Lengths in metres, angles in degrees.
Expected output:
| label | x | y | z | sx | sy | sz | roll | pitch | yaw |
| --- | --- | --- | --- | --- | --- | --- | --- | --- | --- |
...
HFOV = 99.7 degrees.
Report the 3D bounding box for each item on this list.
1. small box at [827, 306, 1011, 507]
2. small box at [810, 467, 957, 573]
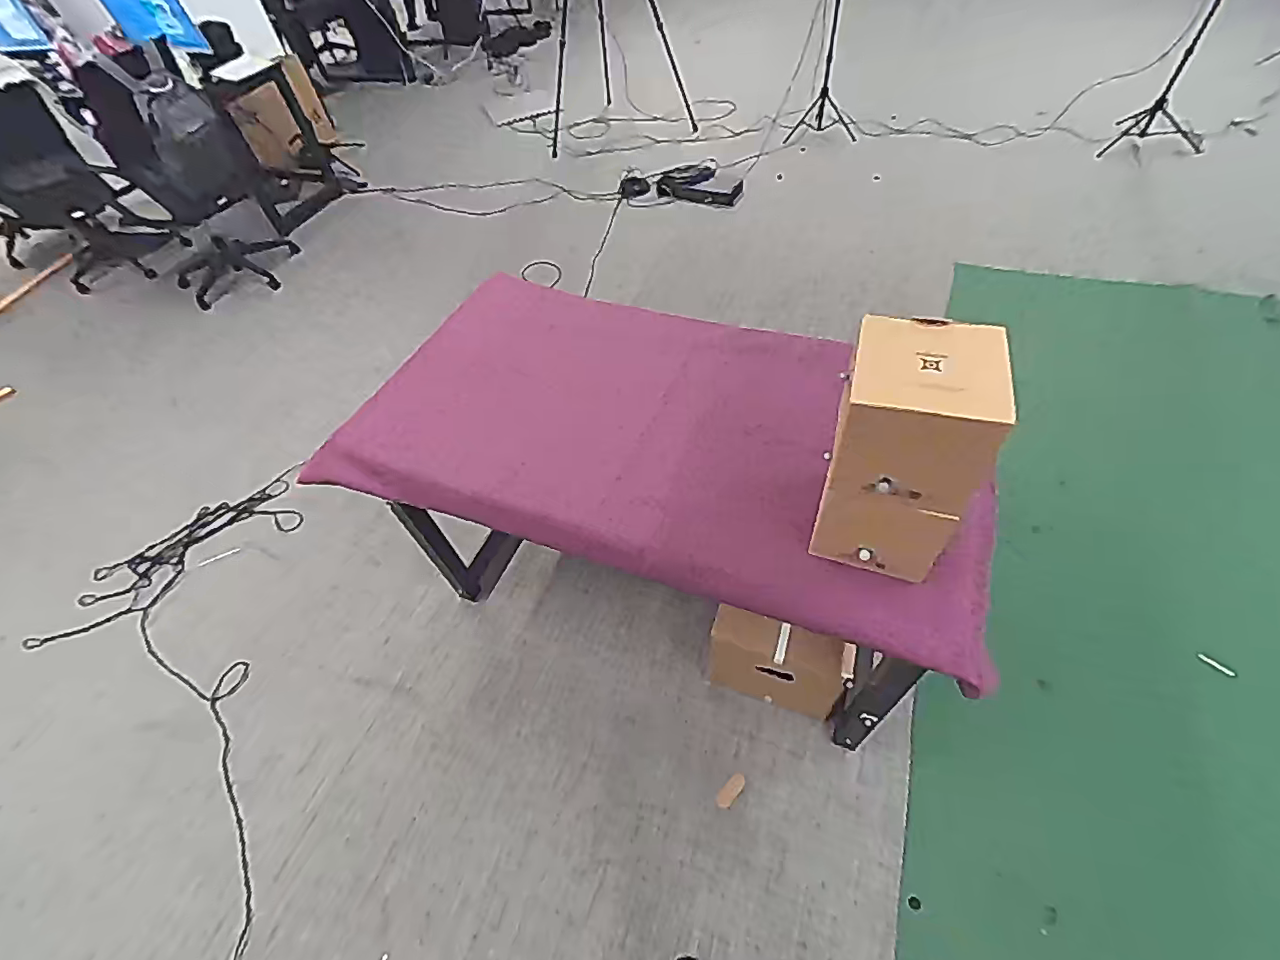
| label | x | y | z | sx | sy | sz | roll | pitch | yaw |
| --- | --- | --- | --- | --- | --- | --- | --- | --- | --- |
| small box | 0.344 | -0.095 | 0.692 | 0.168 | 0.176 | 0.179 | 12 | 53 | 17 |
| small box | 0.364 | 0.009 | 0.816 | 0.168 | 0.176 | 0.179 | 14 | 54 | 18 |
